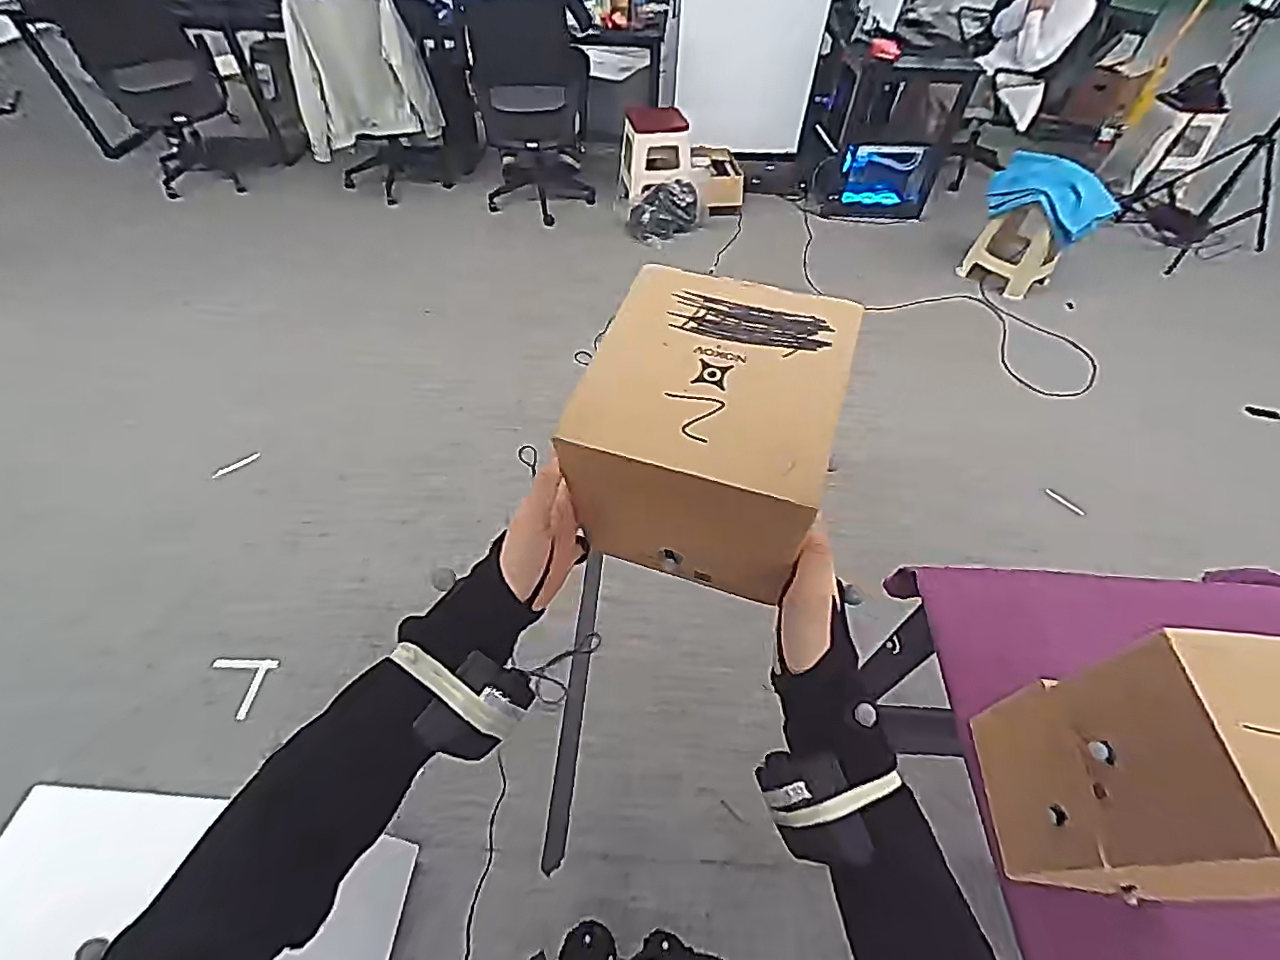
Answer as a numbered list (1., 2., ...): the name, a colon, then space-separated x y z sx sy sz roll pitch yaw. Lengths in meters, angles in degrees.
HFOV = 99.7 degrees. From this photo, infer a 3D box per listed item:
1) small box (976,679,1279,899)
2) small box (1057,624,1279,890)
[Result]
1. small box: 0.512 0.344 0.598 0.168 0.176 0.179 6 51 4
2. small box: 0.523 0.244 0.467 0.179 0.176 0.168 5 51 4
